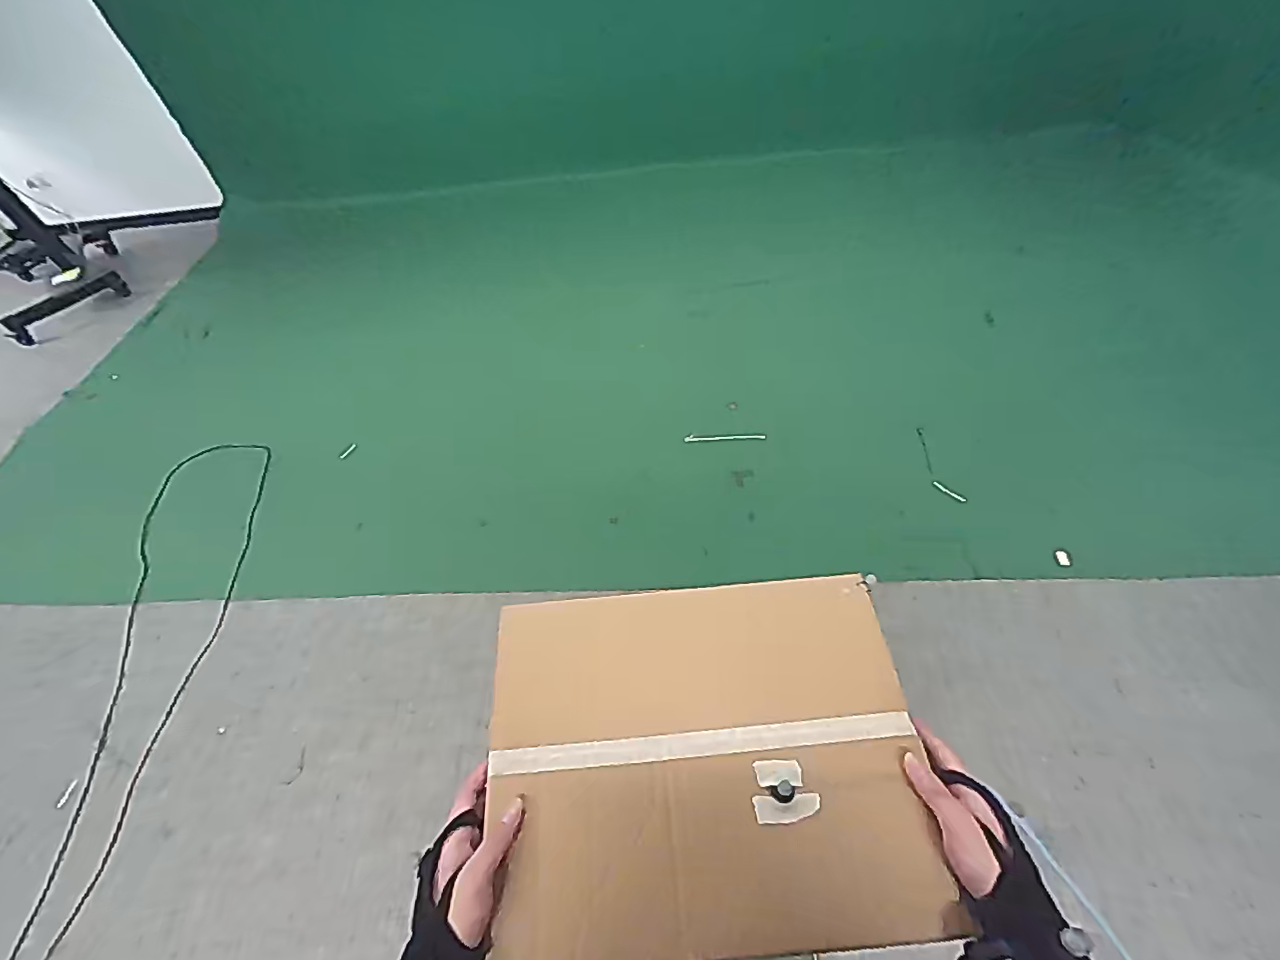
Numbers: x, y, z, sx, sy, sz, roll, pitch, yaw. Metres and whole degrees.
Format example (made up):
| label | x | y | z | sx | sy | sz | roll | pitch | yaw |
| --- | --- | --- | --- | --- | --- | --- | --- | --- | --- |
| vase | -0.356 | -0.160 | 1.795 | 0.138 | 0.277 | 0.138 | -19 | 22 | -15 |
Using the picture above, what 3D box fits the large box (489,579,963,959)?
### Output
| label | x | y | z | sx | sy | sz | roll | pitch | yaw |
| --- | --- | --- | --- | --- | --- | --- | --- | --- | --- |
| large box | 0.063 | 0.343 | 0.647 | 0.408 | 0.320 | 0.320 | -5 | 55 | -1 |
